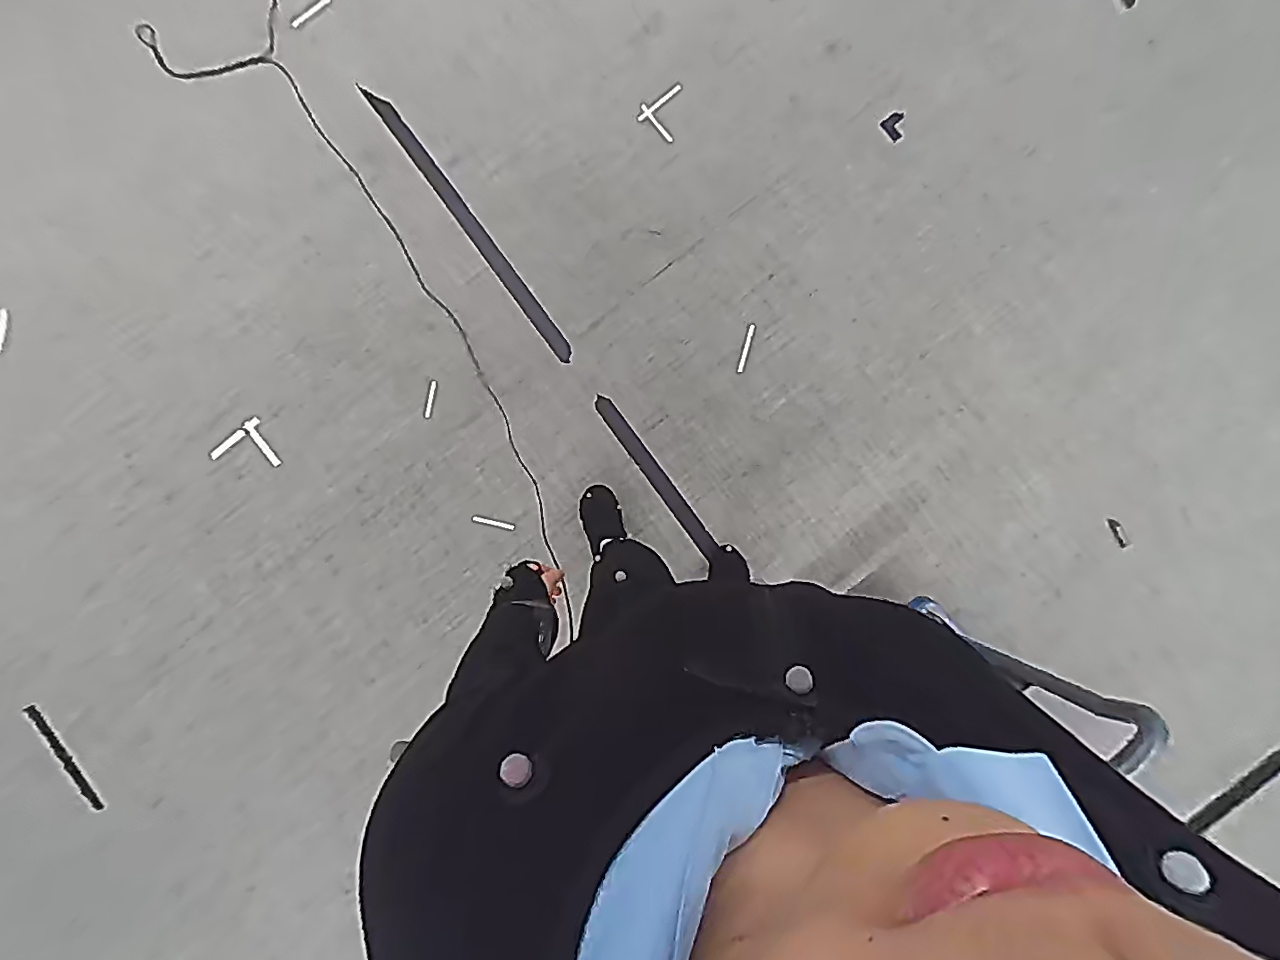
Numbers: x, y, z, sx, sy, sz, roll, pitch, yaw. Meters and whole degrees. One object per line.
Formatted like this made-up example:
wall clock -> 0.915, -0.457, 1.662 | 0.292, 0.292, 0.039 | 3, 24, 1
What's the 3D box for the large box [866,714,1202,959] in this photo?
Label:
large box -> 0.768, 0.784, 1.124 | 0.408, 0.320, 0.320 | -40, 87, -1
